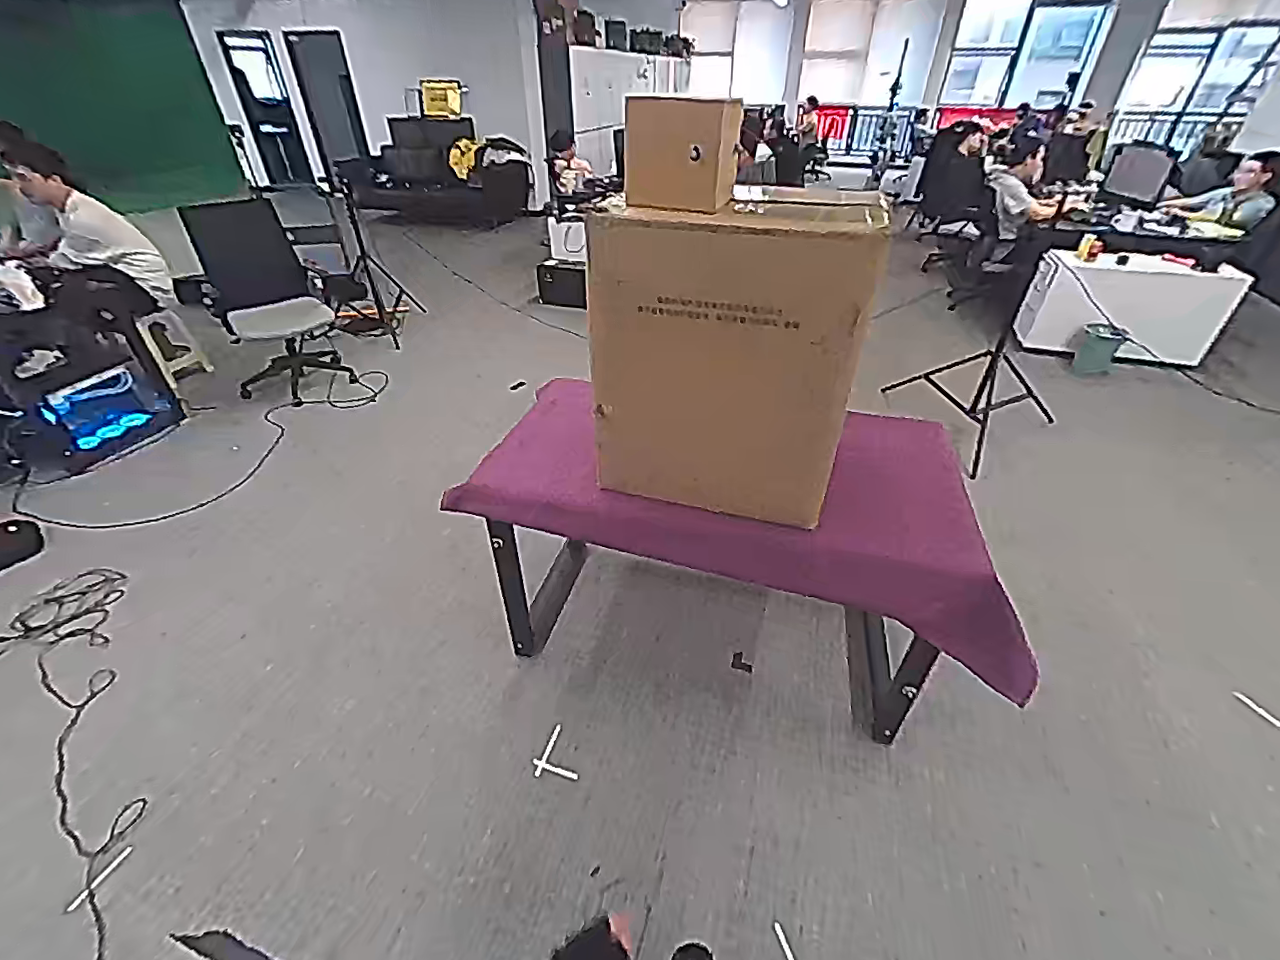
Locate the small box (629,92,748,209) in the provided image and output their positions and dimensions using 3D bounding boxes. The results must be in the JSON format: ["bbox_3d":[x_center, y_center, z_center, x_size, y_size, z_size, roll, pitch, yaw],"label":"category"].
[{"bbox_3d":[0.088,-0.605,0.993,0.179,0.176,0.168,12,38,15],"label":"small box"}]
